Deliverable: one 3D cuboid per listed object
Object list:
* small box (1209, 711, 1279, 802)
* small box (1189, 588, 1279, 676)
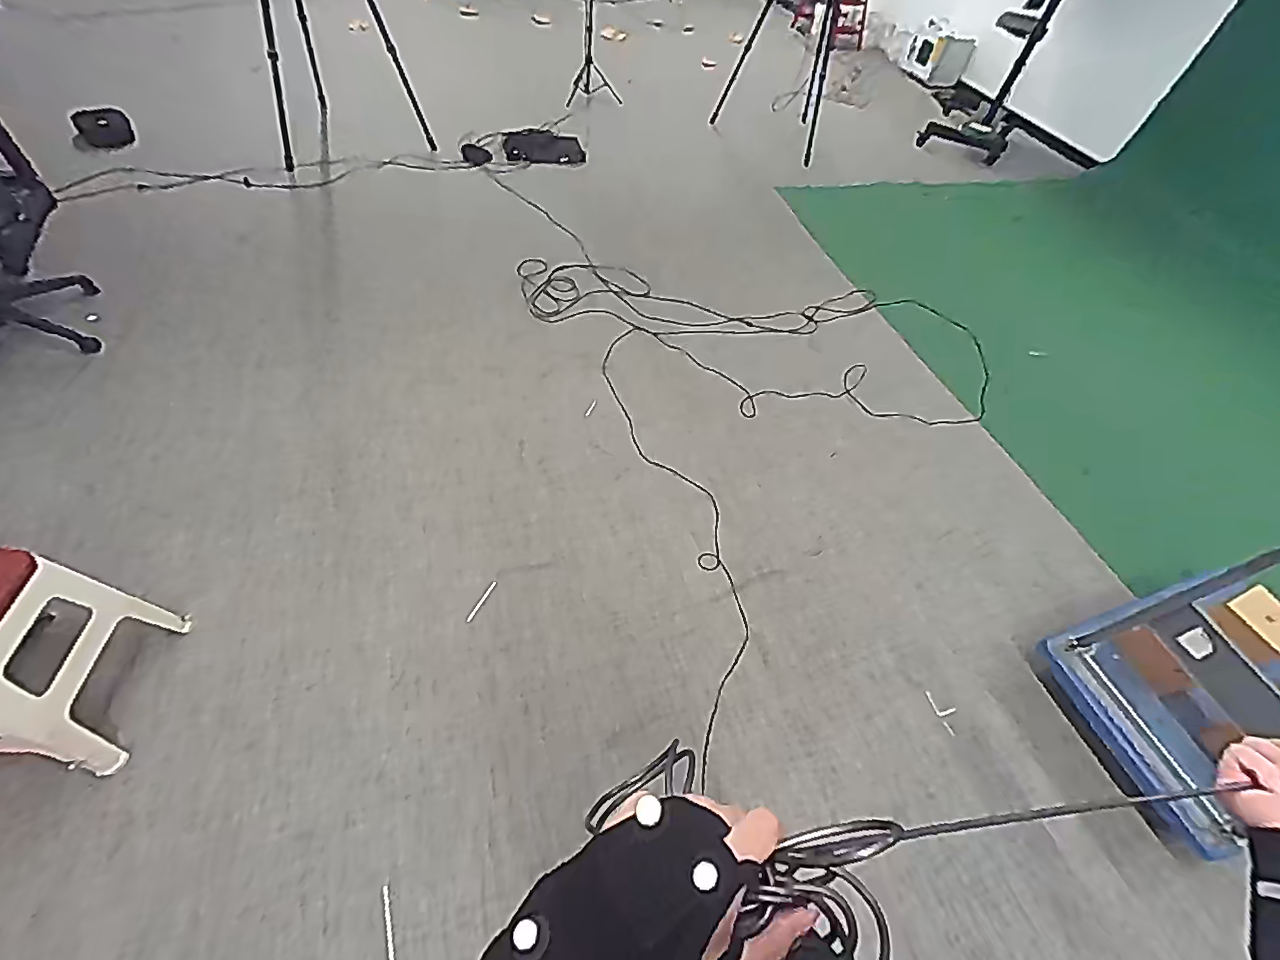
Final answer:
[{"bbox_3d":[1.628,0.693,1.368,0.179,0.176,0.168,-12,56,-15],"label":"small box"},{"bbox_3d":[1.780,0.447,1.574,0.179,0.176,0.168,-16,58,-19],"label":"small box"}]
